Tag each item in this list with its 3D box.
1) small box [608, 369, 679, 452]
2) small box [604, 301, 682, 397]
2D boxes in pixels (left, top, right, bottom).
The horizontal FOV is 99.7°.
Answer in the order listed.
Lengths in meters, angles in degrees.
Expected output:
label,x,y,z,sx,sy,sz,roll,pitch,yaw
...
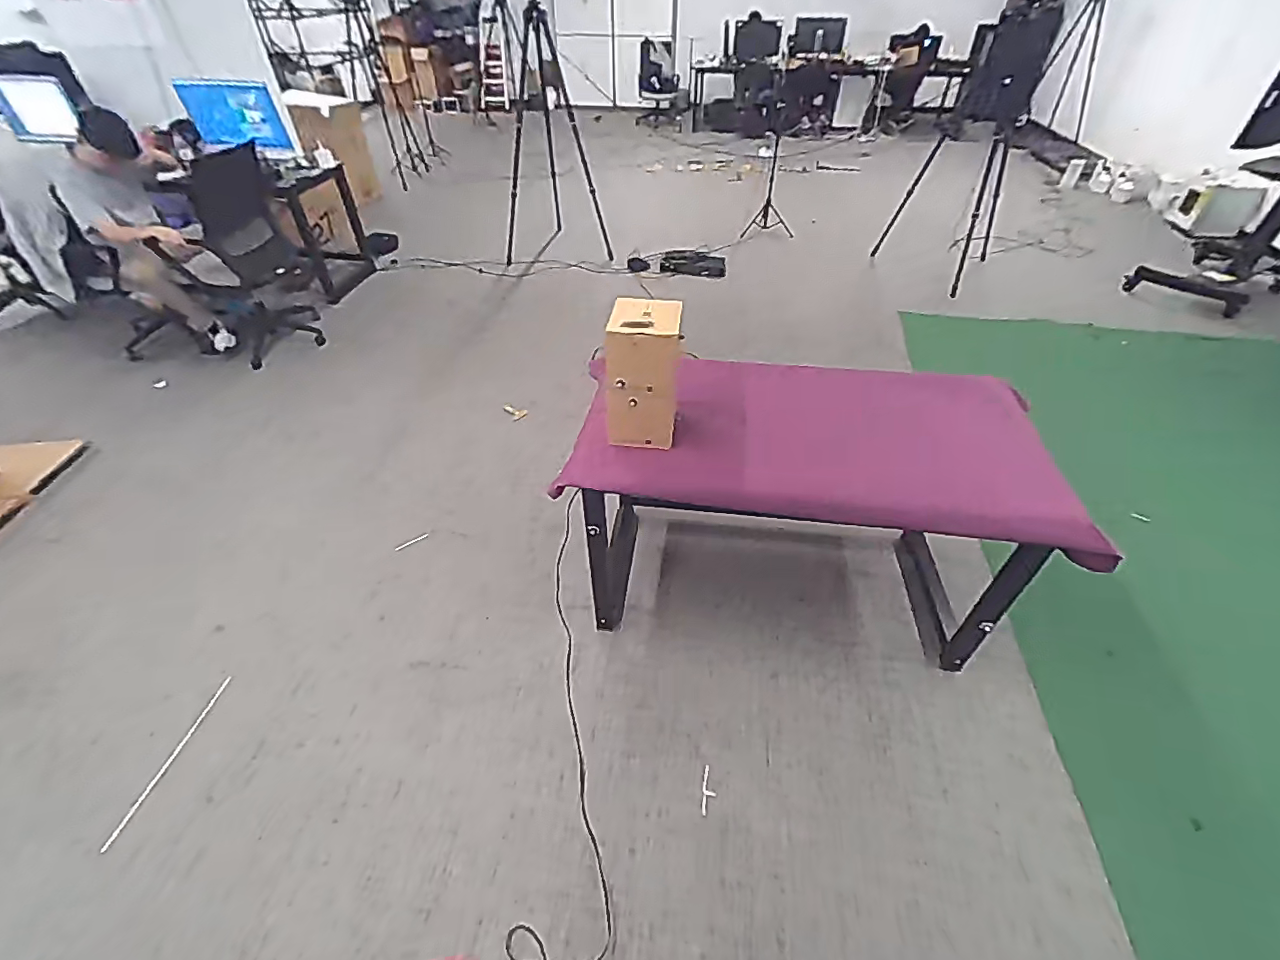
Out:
label,x,y,z,sx,sy,sz,roll,pitch,yaw
small box,0.012,-0.197,1.428,0.168,0.176,0.179,4,43,6
small box,0.012,-0.317,1.315,0.168,0.176,0.179,5,43,6
